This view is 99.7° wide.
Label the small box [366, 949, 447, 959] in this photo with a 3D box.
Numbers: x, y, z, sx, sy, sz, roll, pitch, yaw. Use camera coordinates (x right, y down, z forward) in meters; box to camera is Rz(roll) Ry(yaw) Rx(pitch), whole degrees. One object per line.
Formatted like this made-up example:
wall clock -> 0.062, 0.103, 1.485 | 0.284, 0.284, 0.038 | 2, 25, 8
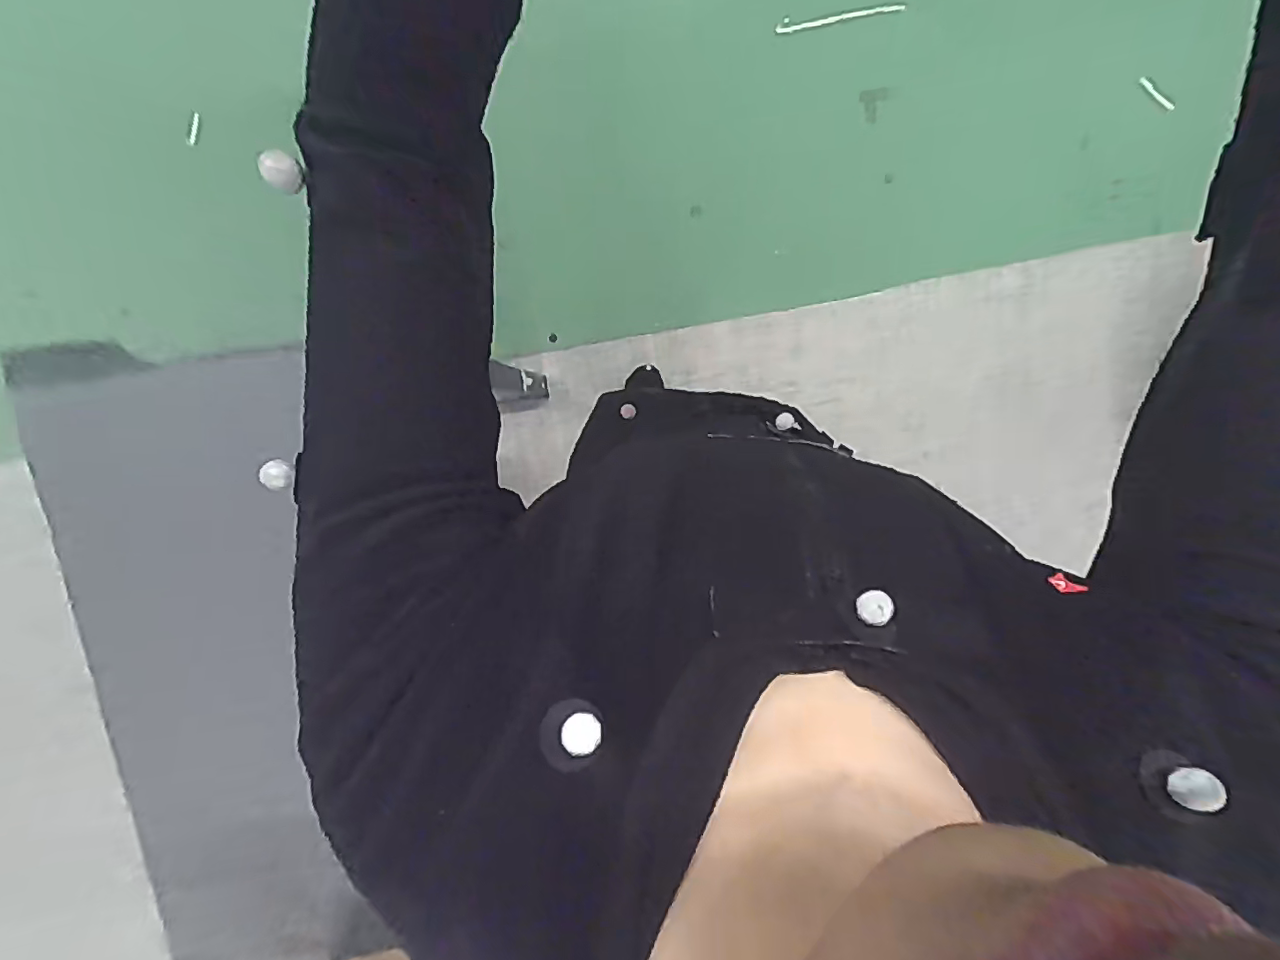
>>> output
small box -> -0.361, 0.806, 0.749 | 0.179, 0.176, 0.168 | -13, 96, 2
